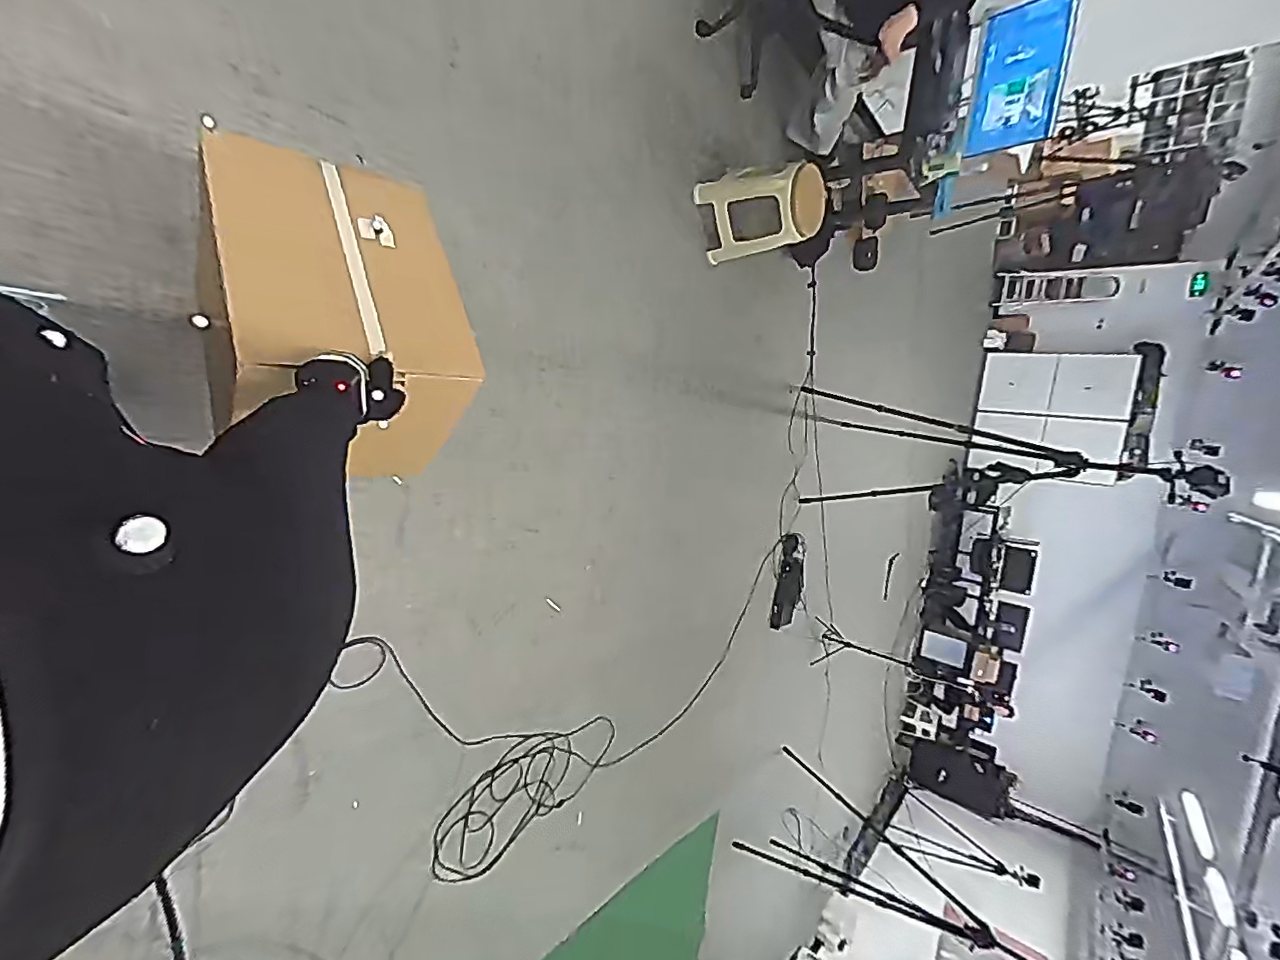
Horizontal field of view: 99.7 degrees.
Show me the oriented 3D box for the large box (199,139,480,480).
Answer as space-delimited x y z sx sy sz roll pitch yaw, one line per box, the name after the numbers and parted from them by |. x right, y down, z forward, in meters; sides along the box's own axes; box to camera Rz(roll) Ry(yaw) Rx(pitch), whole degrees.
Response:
-0.518 -0.252 0.905 0.320 0.320 0.408 -5 64 -43 | large box
